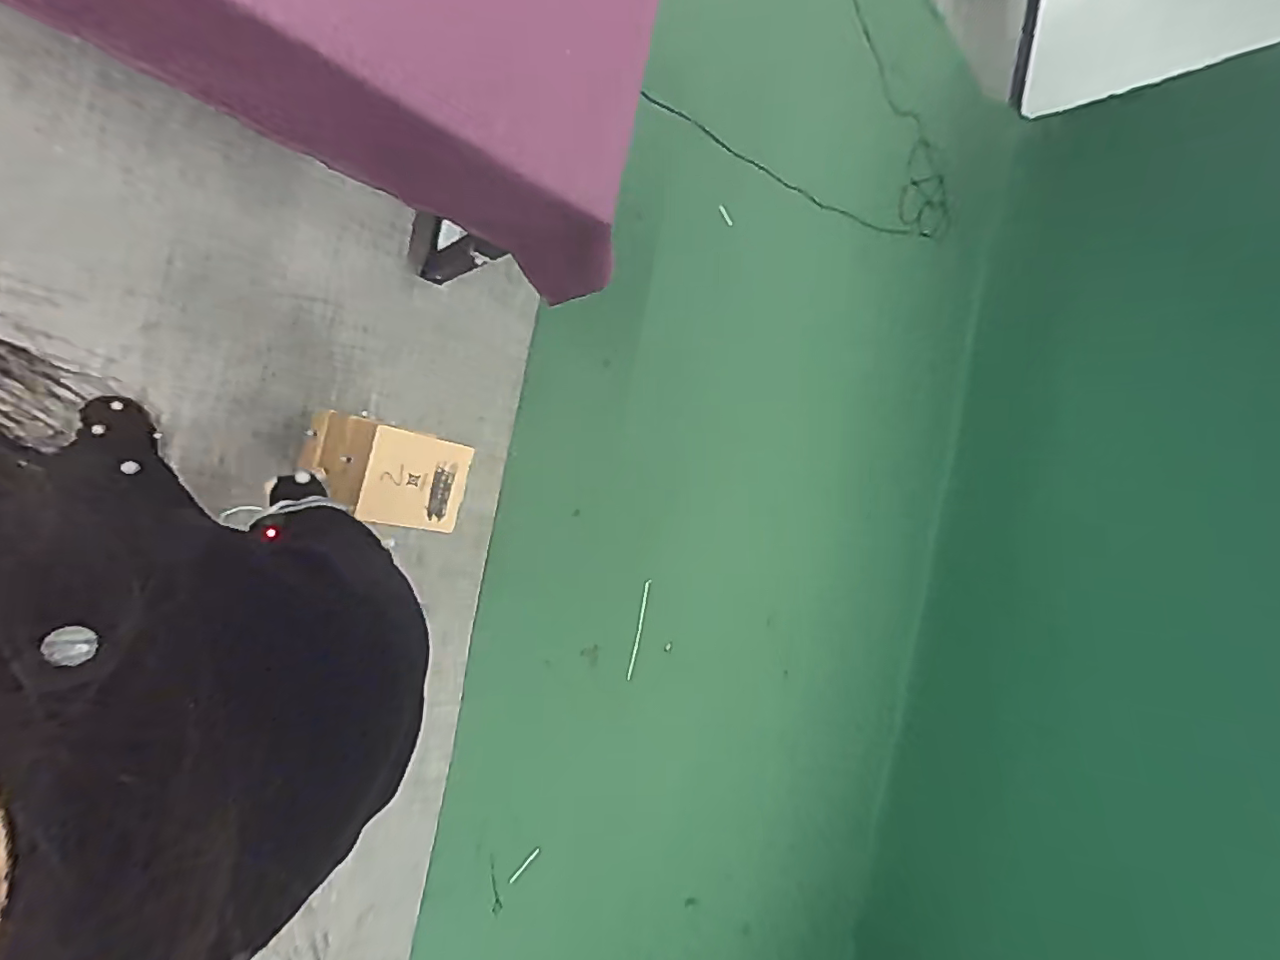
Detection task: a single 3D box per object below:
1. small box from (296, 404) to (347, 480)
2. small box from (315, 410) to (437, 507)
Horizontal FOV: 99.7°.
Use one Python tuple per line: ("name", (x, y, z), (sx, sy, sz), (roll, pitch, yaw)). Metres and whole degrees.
("small box", (-0.671, -0.071, 1.252), (0.179, 0.176, 0.168), (17, 86, -42))
("small box", (-0.559, -0.048, 1.135), (0.179, 0.176, 0.168), (13, 89, -42))
